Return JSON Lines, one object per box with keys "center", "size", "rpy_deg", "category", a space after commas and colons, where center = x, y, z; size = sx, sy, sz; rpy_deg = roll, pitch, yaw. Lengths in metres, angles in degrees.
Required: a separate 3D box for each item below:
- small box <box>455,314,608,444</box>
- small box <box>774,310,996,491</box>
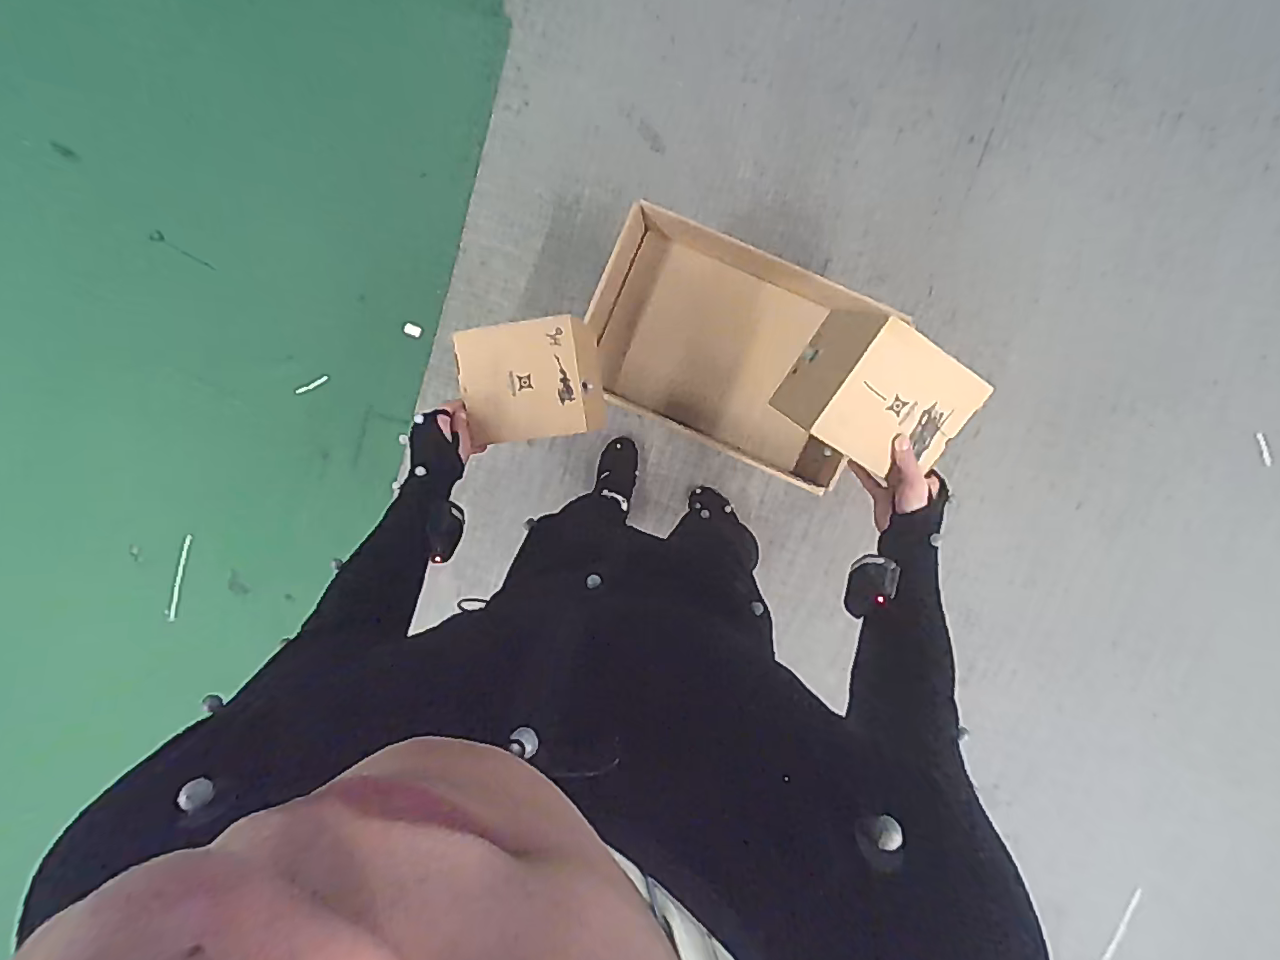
{"center": [-0.157, -0.149, 0.836], "size": [0.179, 0.176, 0.168], "rpy_deg": [-6, 98, 8], "category": "small box"}
{"center": [0.315, -0.118, 0.731], "size": [0.179, 0.176, 0.168], "rpy_deg": [29, 105, -13], "category": "small box"}
